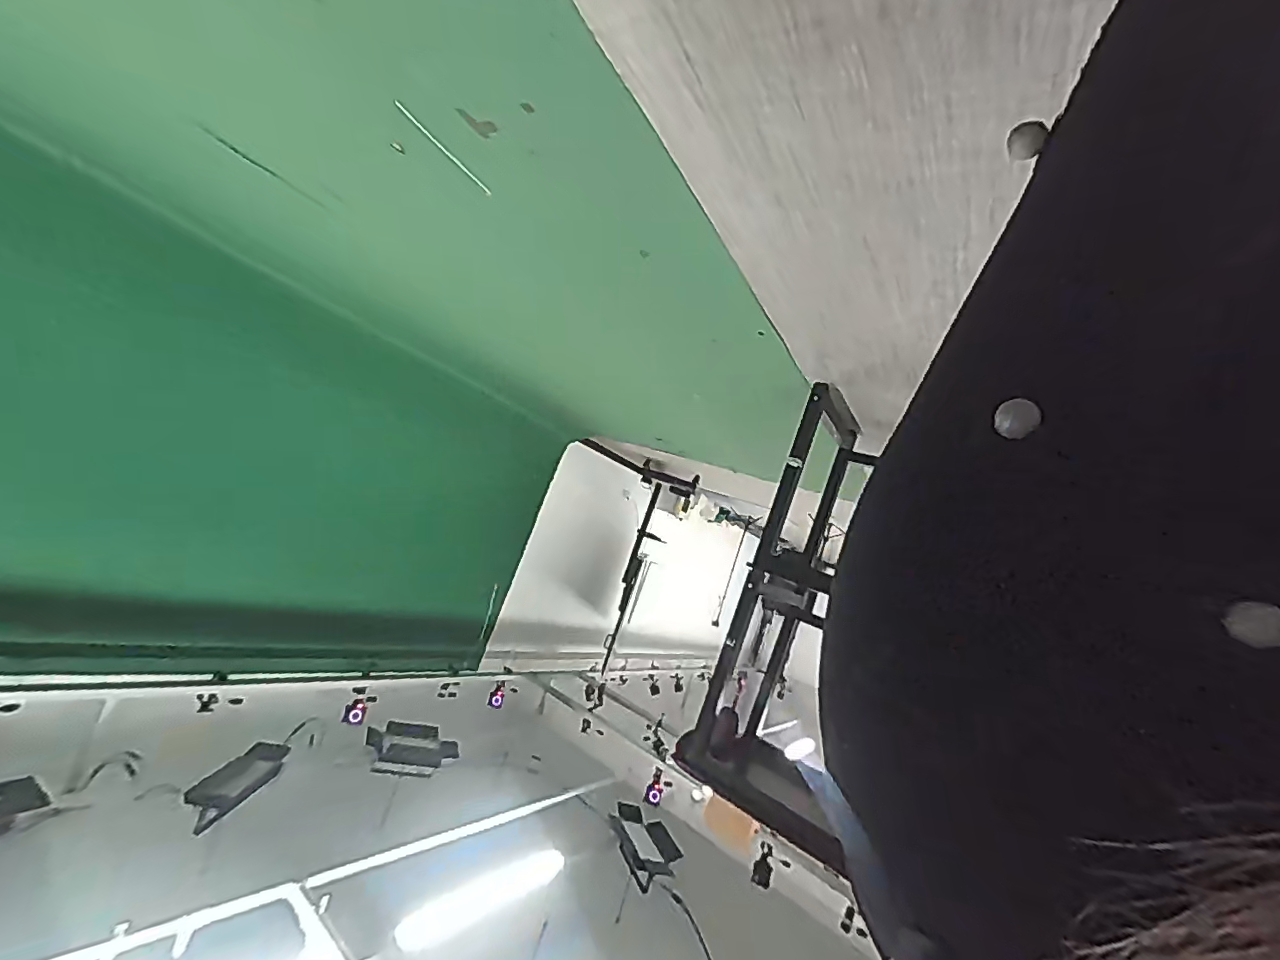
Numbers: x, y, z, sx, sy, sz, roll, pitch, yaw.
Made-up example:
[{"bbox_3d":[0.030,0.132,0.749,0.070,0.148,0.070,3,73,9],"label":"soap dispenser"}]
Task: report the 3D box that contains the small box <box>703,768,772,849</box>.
[{"bbox_3d":[0.351,1.152,1.914,0.168,0.176,0.179,17,173,31],"label":"small box"}]
